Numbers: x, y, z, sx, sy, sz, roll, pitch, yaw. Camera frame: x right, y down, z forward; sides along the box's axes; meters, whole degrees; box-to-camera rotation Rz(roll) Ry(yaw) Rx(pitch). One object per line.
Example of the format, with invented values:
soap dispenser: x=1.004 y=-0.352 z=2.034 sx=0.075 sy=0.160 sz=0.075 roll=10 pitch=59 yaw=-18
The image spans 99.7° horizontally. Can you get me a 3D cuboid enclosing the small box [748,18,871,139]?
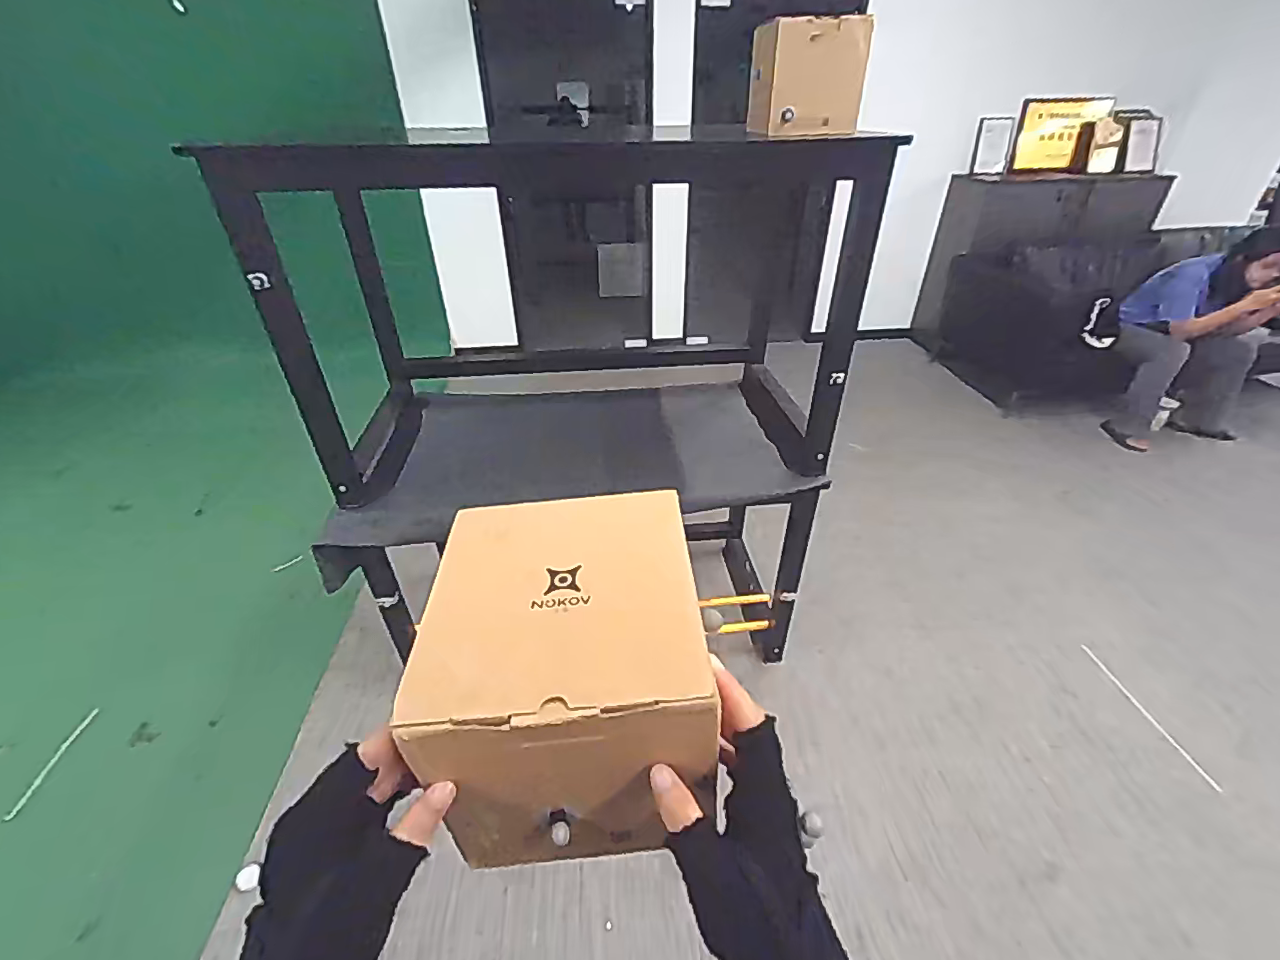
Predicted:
small box: x=0.306 y=-0.743 z=1.013 sx=0.168 sy=0.176 sz=0.179 roll=-2 pitch=34 yaw=-2

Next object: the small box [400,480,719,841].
small box: x=-0.042 y=0.121 z=0.387 sx=0.168 sy=0.176 sz=0.179 roll=-5 pitch=35 yaw=-1
